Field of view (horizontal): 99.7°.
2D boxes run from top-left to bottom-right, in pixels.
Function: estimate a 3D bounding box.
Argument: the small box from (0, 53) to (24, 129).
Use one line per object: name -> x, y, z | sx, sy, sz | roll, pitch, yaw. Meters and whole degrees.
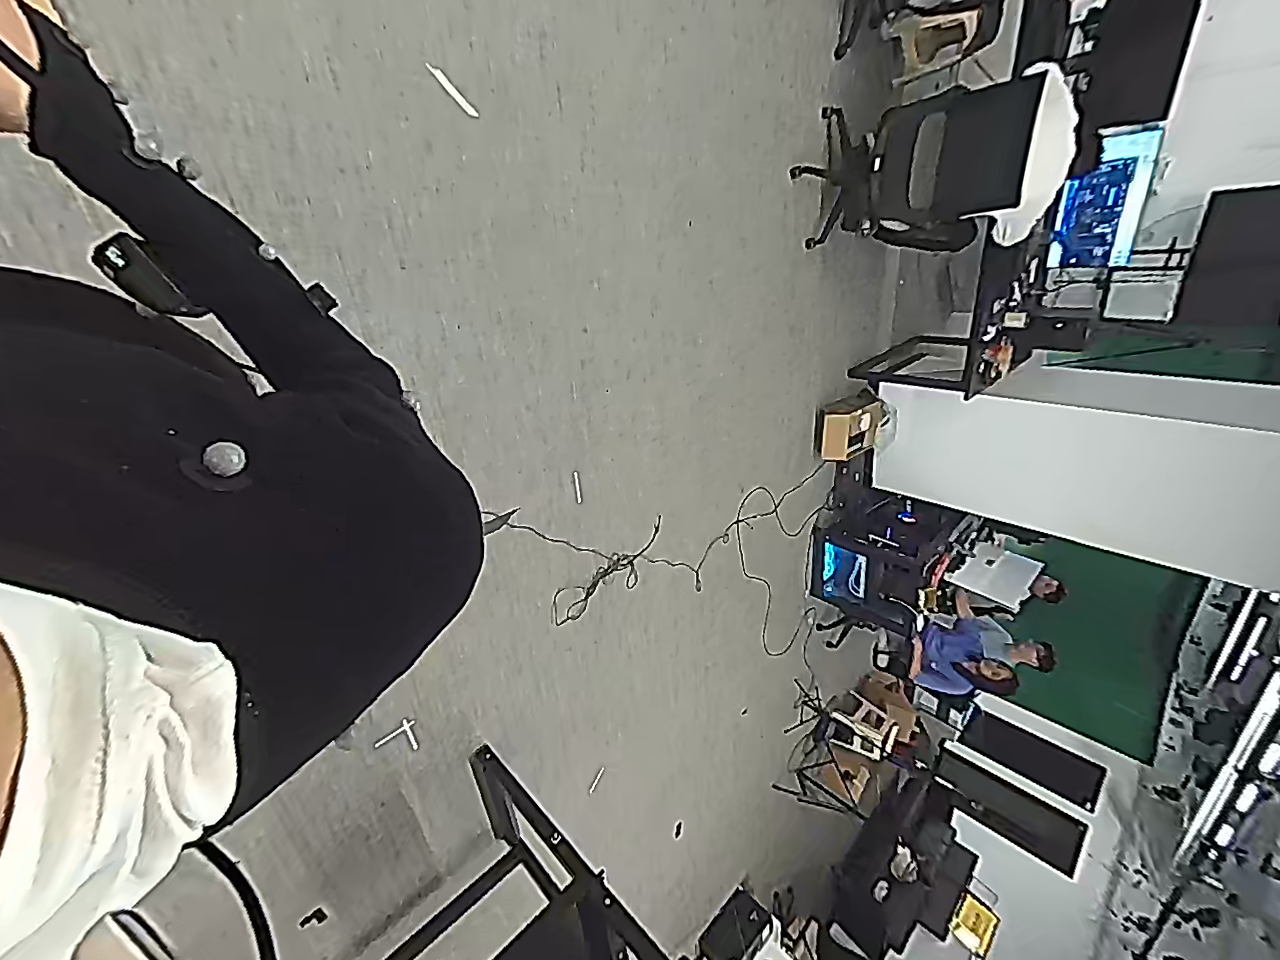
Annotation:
small box -> -0.561, -0.356, 0.339 | 0.168, 0.176, 0.179 | -21, 107, -32
